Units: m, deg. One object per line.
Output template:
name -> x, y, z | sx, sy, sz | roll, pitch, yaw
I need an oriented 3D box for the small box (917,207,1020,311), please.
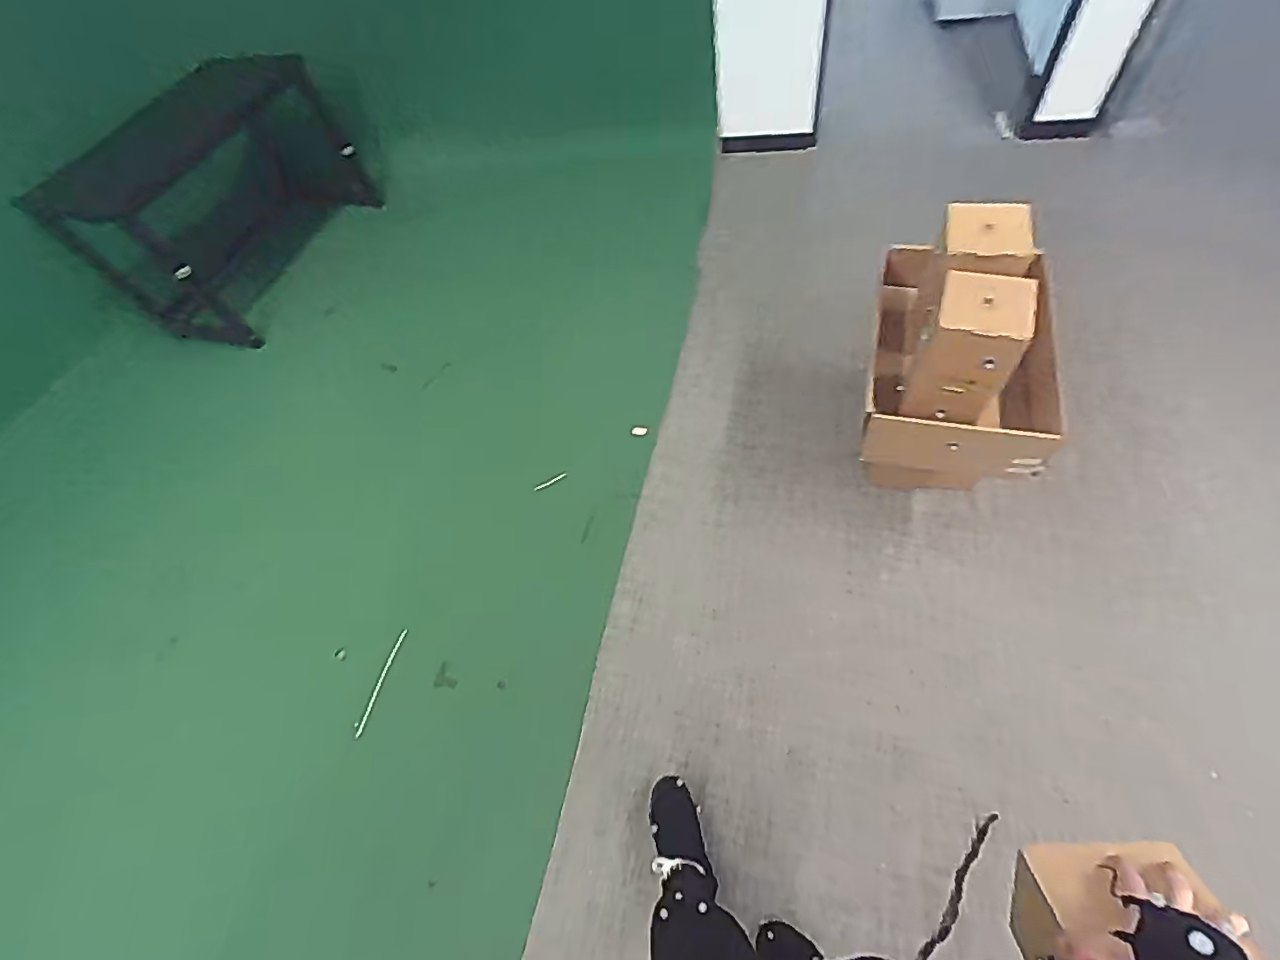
small box -> 0.774, -0.519, 1.289 | 0.168, 0.176, 0.179 | 9, 63, 14

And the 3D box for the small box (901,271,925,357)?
small box -> 0.800, -0.440, 1.428 | 0.168, 0.176, 0.179 | 9, 62, 16

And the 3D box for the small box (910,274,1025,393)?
small box -> 0.702, -0.314, 1.173 | 0.168, 0.176, 0.179 | 15, 62, 18
